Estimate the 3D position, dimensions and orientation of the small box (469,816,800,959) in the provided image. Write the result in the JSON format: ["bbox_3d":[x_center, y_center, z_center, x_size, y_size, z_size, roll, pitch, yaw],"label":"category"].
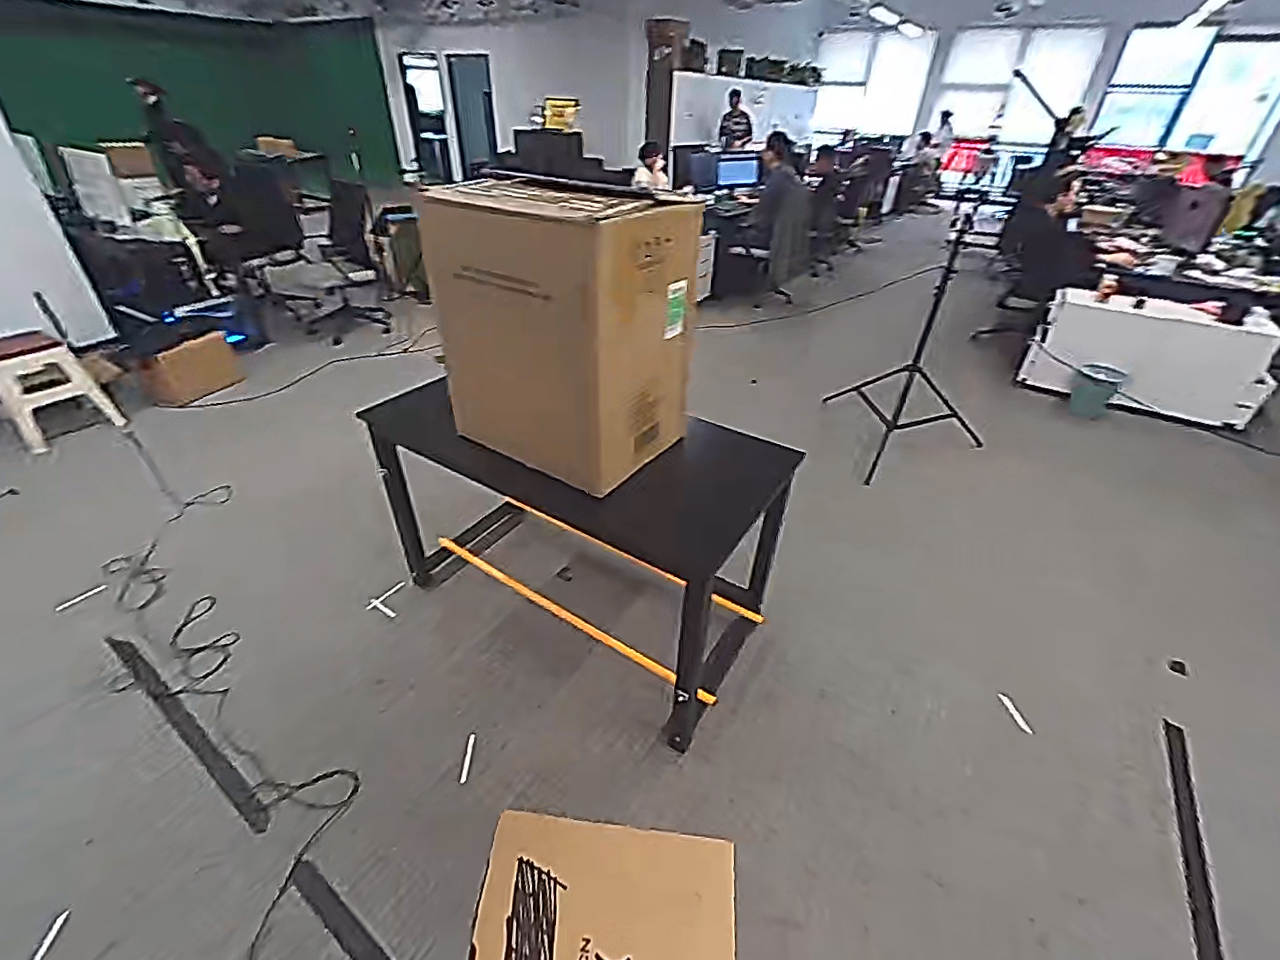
[{"bbox_3d":[-0.008,0.323,0.323,0.179,0.176,0.168,6,47,1],"label":"small box"}]
